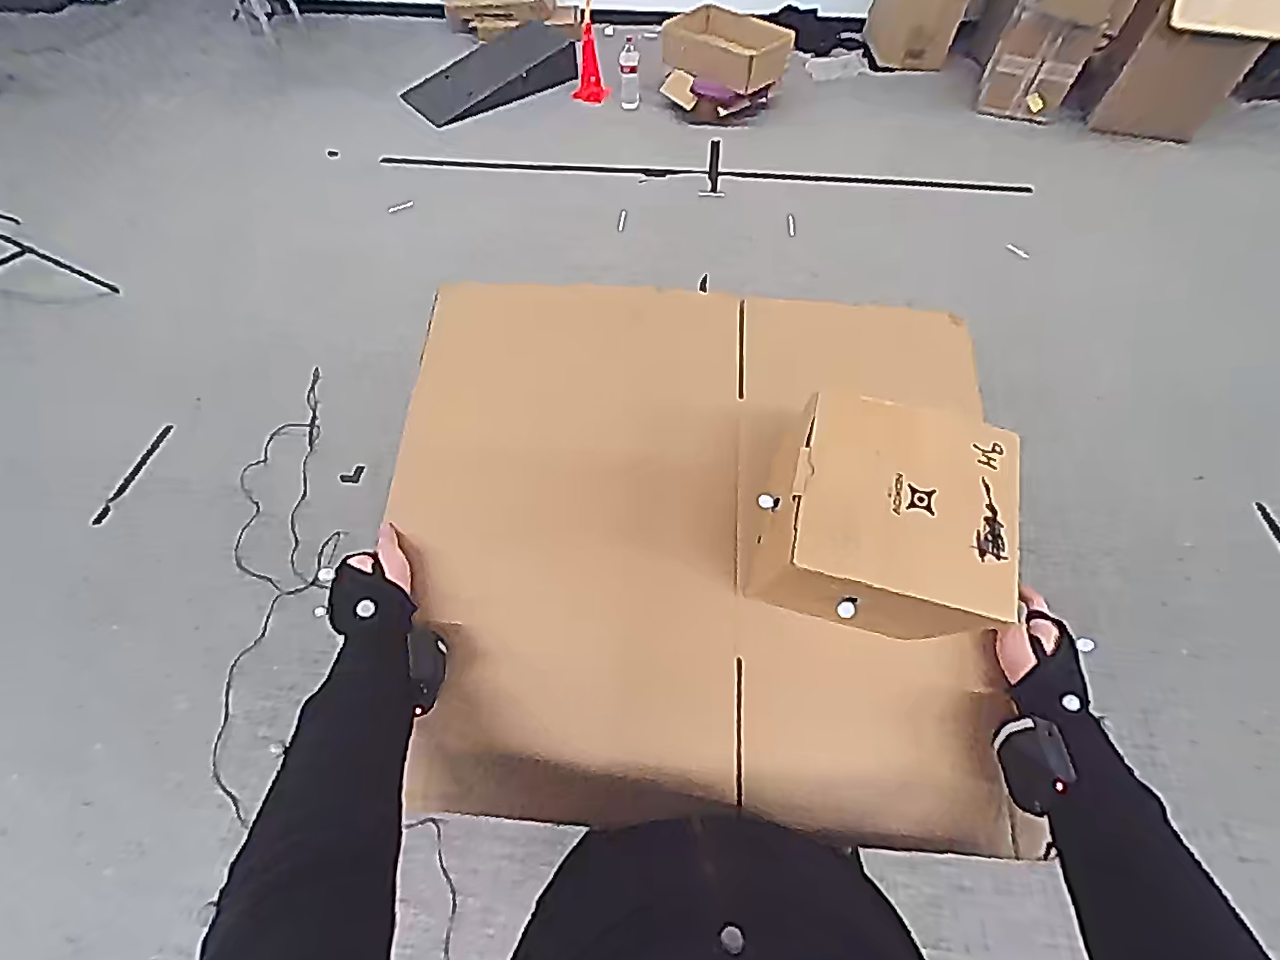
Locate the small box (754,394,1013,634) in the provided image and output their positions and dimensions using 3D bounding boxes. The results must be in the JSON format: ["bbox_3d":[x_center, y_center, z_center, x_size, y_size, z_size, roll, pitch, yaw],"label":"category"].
[{"bbox_3d":[0.219,0.044,0.523,0.179,0.176,0.168,14,70,5],"label":"small box"}]
